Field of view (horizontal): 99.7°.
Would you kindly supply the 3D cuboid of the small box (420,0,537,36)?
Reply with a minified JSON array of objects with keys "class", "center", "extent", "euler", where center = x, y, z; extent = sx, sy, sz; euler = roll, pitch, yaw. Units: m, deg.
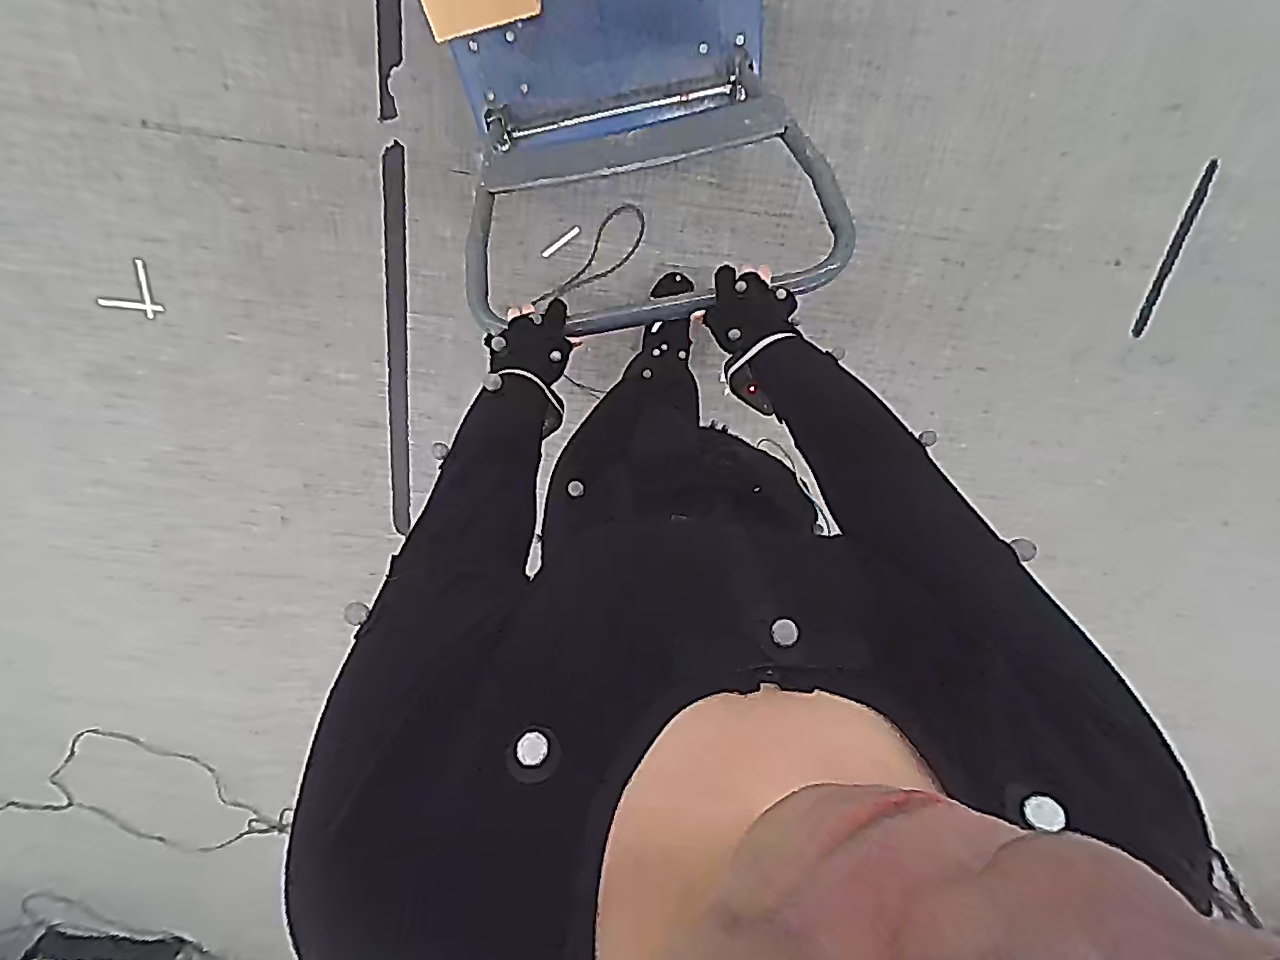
[{"class":"small box","center":[-0.264,-0.828,0.844],"extent":[0.179,0.176,0.168],"euler":[-13,137,5]}]
